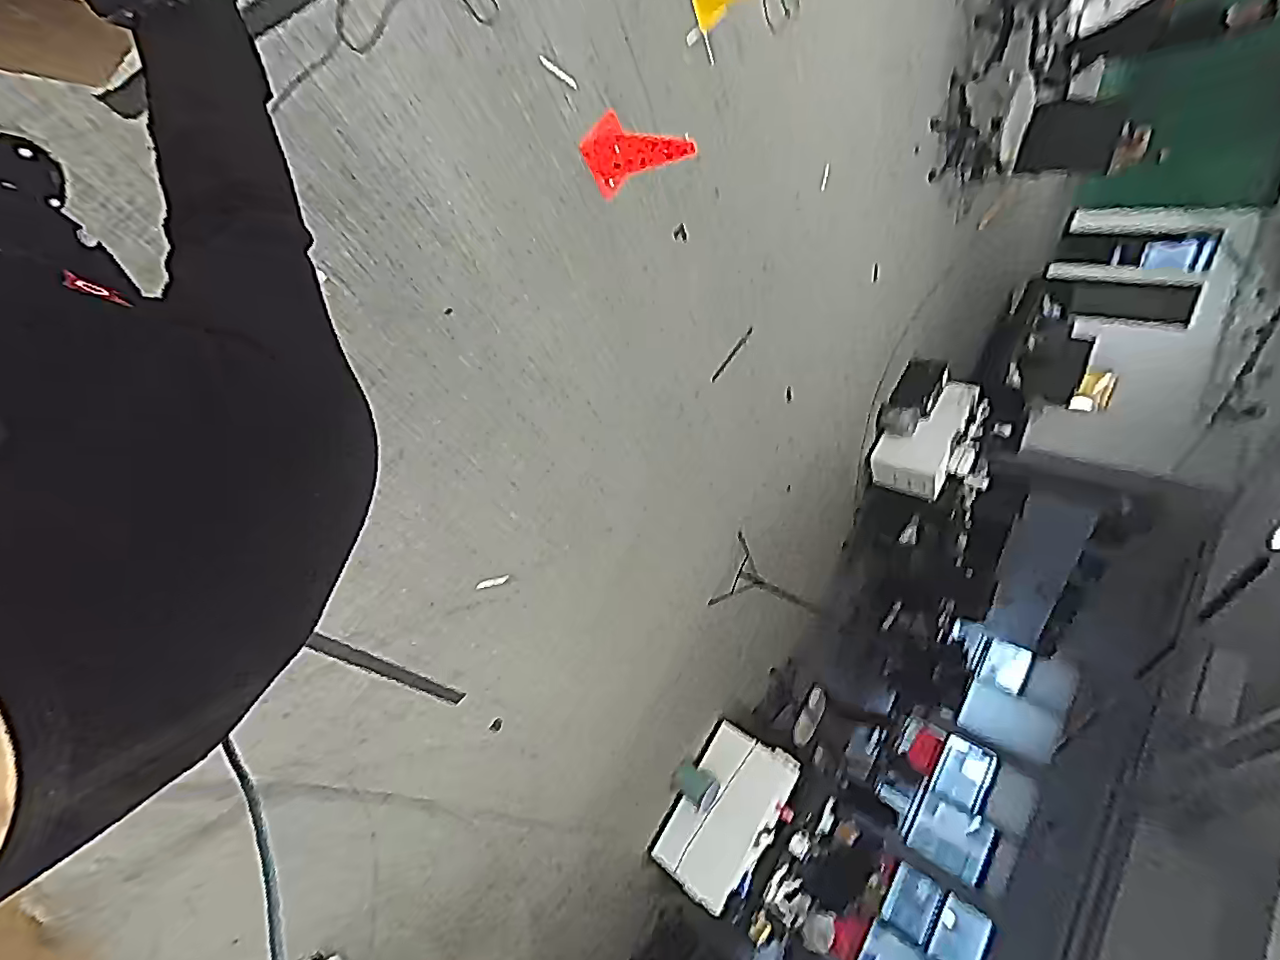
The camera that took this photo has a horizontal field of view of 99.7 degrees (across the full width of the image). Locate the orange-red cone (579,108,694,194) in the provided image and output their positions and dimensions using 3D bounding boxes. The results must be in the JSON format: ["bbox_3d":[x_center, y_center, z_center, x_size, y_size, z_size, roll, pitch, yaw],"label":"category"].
[{"bbox_3d":[0.017,-1.049,1.706,0.199,0.360,0.198,-57,142,-17],"label":"orange-red cone"}]

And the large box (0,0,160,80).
[{"bbox_3d":[-0.563,-0.455,0.268,0.408,0.320,0.320,-19,122,-45],"label":"large box"}]
